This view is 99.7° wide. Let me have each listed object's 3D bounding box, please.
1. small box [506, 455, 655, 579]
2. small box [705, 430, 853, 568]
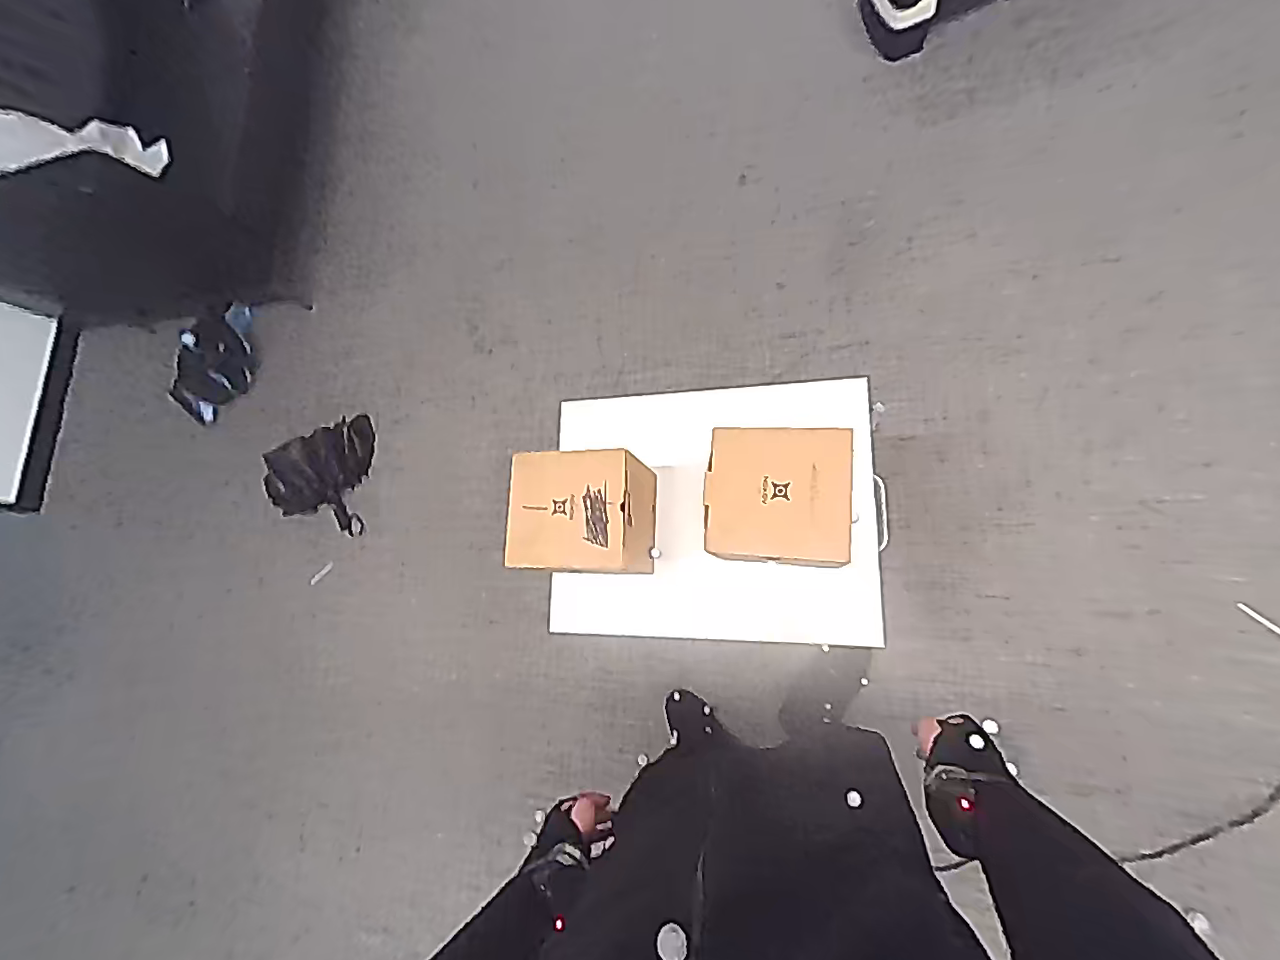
[{"bbox_3d":[-0.079,0.062,0.818,0.179,0.176,0.168,-2,77,17],"label":"small box"},{"bbox_3d":[0.193,0.033,0.745,0.179,0.176,0.168,1,80,16],"label":"small box"}]
